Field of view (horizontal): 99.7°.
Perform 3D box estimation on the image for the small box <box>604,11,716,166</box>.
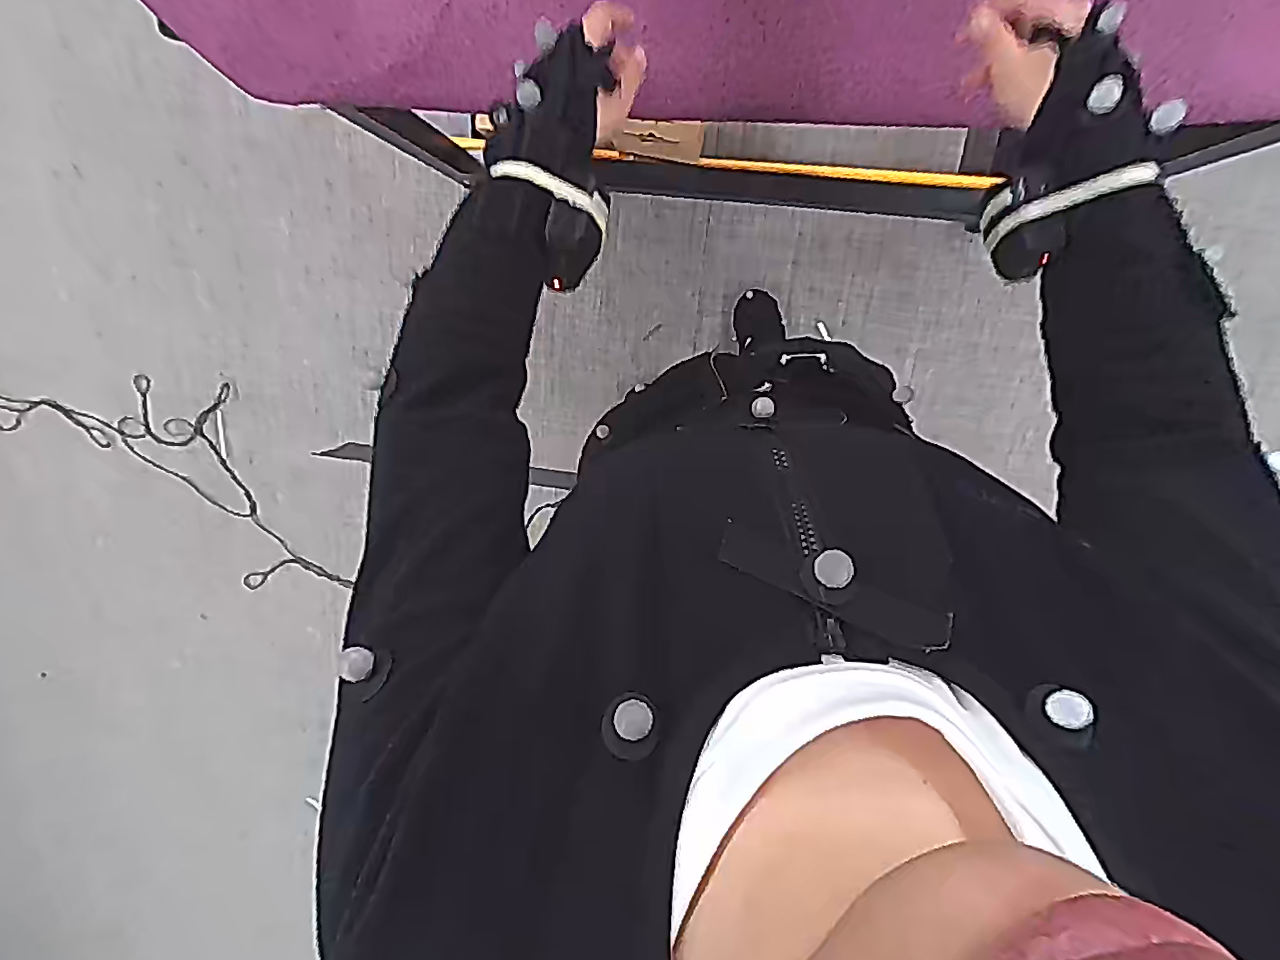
[{"bbox_3d":[0.040,-0.703,0.995,0.168,0.176,0.179,12,107,1],"label":"small box"}]
